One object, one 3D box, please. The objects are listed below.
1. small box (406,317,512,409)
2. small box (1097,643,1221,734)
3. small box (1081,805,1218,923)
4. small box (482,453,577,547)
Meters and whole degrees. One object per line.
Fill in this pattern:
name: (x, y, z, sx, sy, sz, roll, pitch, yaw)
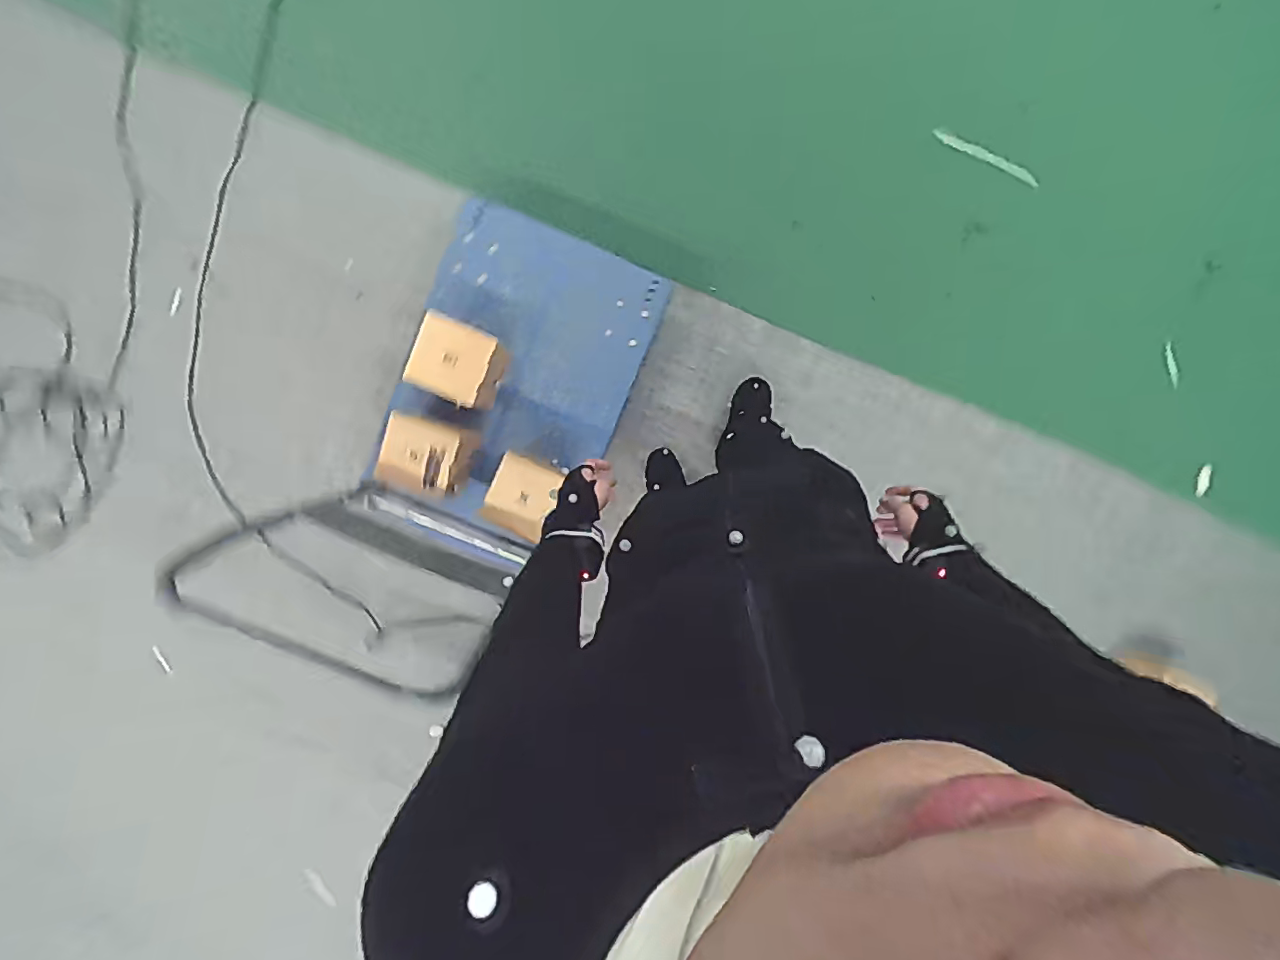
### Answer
small box: (-0.439, -0.279, 1.336, 0.179, 0.176, 0.168, 22, 95, -3)
small box: (1.538, 0.613, 1.617, 0.179, 0.176, 0.168, 27, 96, -3)
small box: (1.378, 1.036, 1.475, 0.179, 0.176, 0.168, 28, 94, -3)
small box: (-0.269, 0.044, 1.366, 0.168, 0.176, 0.179, 24, 95, -3)
